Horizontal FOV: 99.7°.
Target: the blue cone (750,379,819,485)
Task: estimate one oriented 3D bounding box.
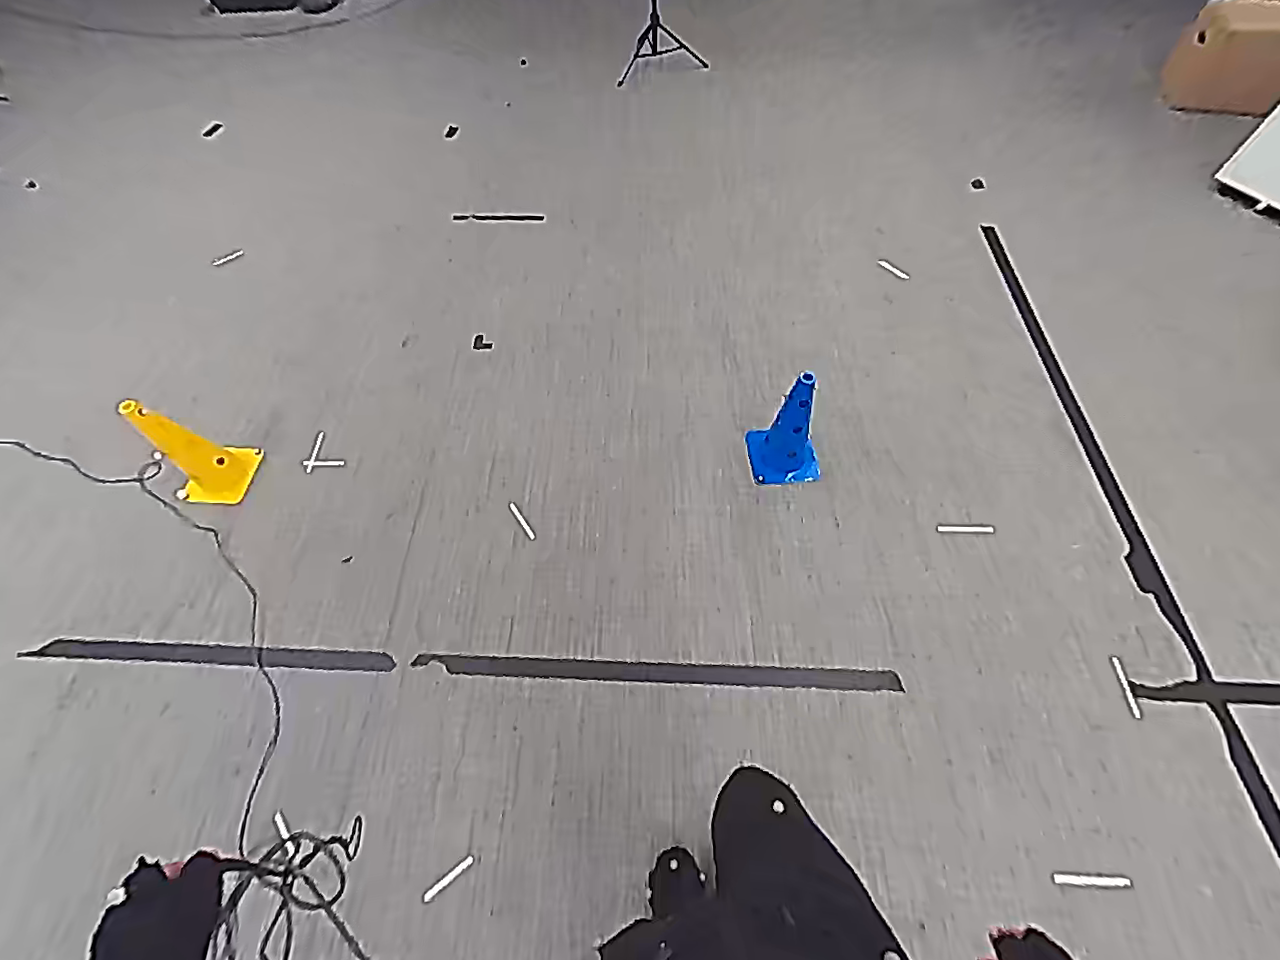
[{"bbox_3d":[0.430,-0.155,1.512,0.193,0.380,0.192,-4,60,1],"label":"blue cone"}]
